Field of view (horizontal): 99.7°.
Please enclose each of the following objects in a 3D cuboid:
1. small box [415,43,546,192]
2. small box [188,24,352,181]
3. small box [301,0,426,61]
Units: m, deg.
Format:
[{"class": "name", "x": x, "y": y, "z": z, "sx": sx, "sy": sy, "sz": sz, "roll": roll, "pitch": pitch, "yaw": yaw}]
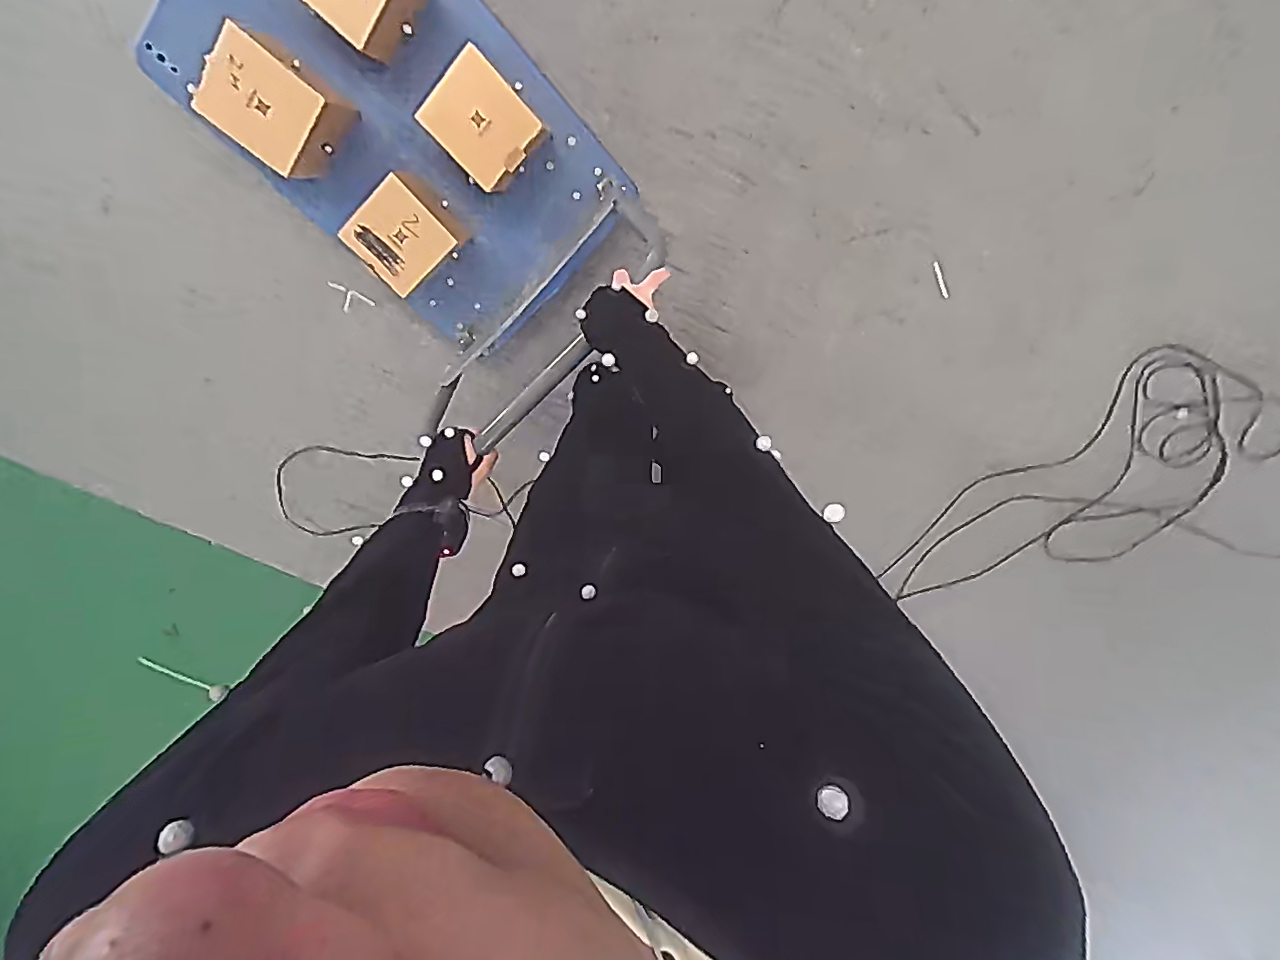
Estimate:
[{"class": "small box", "x": -0.305, "y": -0.702, "z": 1.069, "sx": 0.168, "sy": 0.176, "sz": 0.179, "roll": -41, "pitch": 116, "yaw": 17}, {"class": "small box", "x": -0.690, "y": -0.705, "z": 1.030, "sx": 0.179, "sy": 0.176, "sz": 0.168, "roll": 36, "pitch": 110, "yaw": -22}, {"class": "small box", "x": -0.506, "y": -0.882, "z": 0.946, "sx": 0.179, "sy": 0.176, "sz": 0.168, "roll": 36, "pitch": 111, "yaw": -23}]
